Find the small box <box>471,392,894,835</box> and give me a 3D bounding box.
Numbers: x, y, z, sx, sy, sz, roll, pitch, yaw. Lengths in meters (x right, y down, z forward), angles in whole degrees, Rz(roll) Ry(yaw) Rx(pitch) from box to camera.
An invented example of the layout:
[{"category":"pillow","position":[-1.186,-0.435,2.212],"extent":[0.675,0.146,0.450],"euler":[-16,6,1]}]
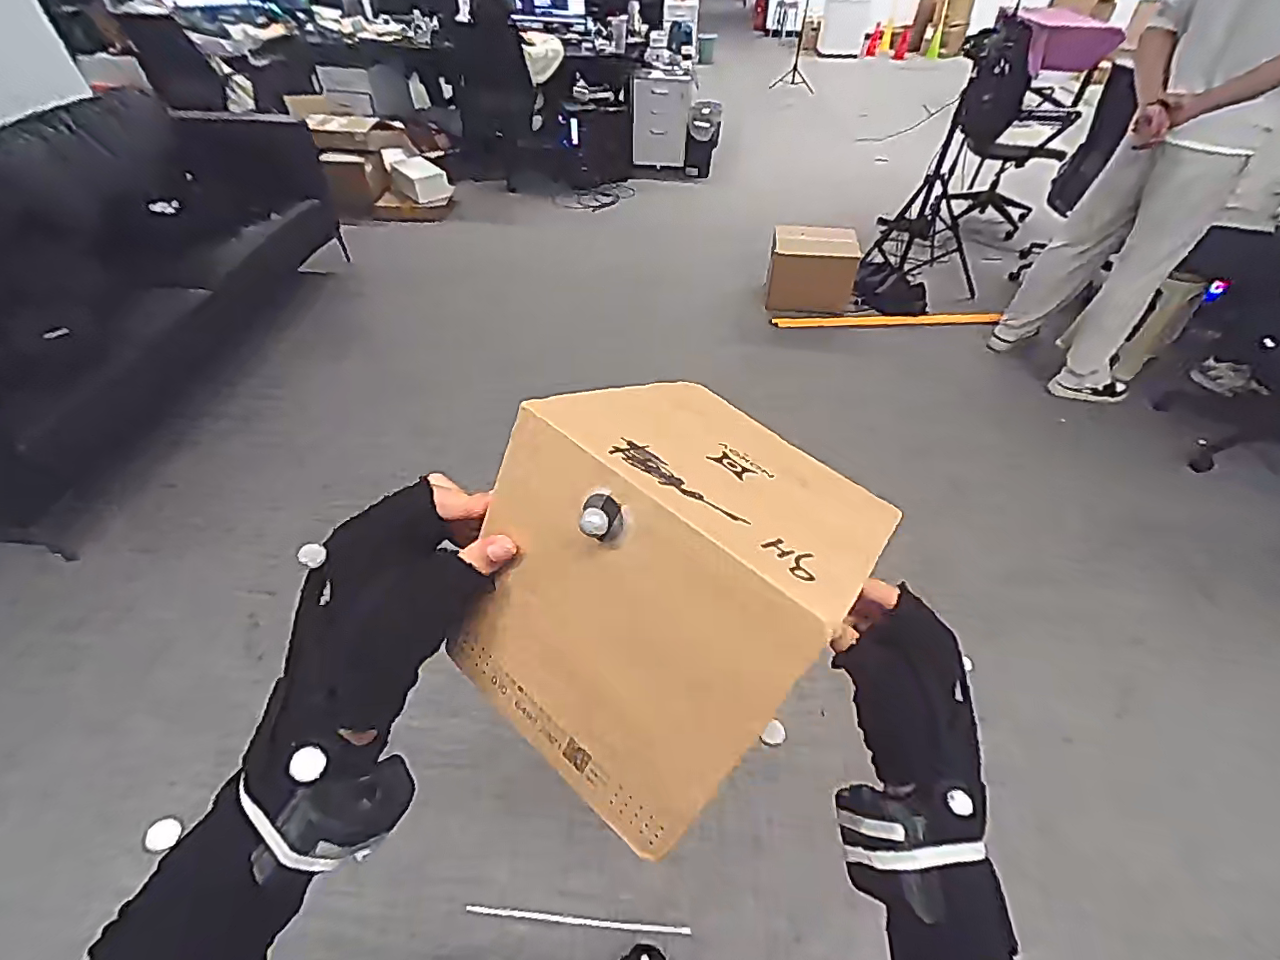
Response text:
[{"category":"small box","position":[0.025,0.060,0.336],"extent":[0.168,0.176,0.179],"euler":[35,27,22]}]
